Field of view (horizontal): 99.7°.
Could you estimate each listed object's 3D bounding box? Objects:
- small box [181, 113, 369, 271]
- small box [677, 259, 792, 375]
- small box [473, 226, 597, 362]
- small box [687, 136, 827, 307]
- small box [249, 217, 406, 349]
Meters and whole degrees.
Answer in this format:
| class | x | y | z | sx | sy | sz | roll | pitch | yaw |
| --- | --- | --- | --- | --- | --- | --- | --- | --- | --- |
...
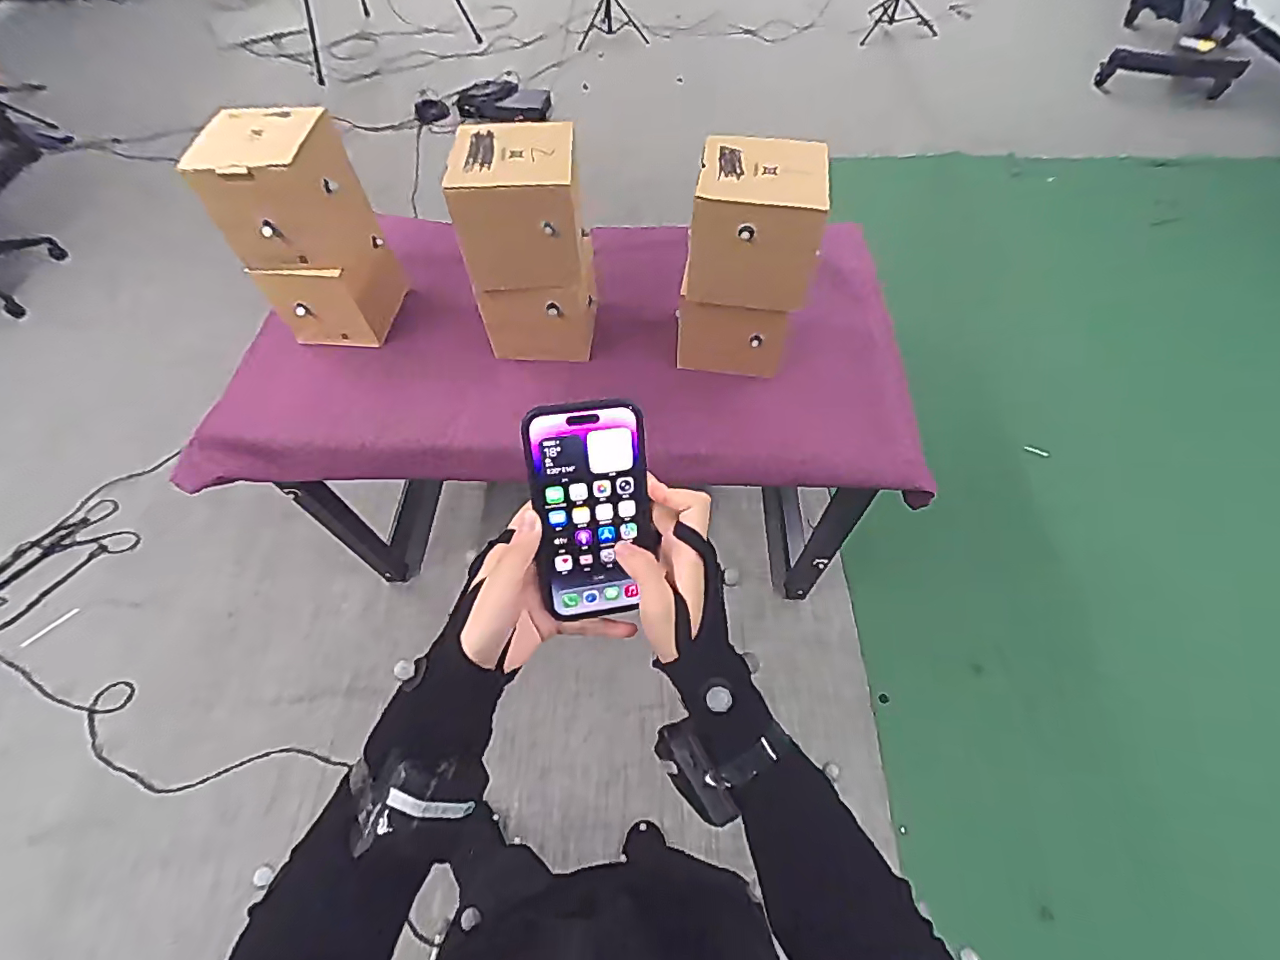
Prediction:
| class | x | y | z | sx | sy | sz | roll | pitch | yaw |
| --- | --- | --- | --- | --- | --- | --- | --- | --- | --- |
| small box | -0.568 | -0.457 | 0.873 | 0.168 | 0.176 | 0.179 | -1 | 58 | 0 |
| small box | 0.164 | -0.302 | 0.946 | 0.179 | 0.176 | 0.168 | 7 | 58 | 7 |
| small box | -0.175 | -0.329 | 0.972 | 0.179 | 0.176 | 0.168 | 2 | 58 | 3 |
| small box | 0.166 | -0.377 | 0.799 | 0.179 | 0.176 | 0.168 | 8 | 58 | 6 |
| small box | -0.563 | -0.362 | 1.007 | 0.168 | 0.176 | 0.179 | 3 | 58 | 4 |
